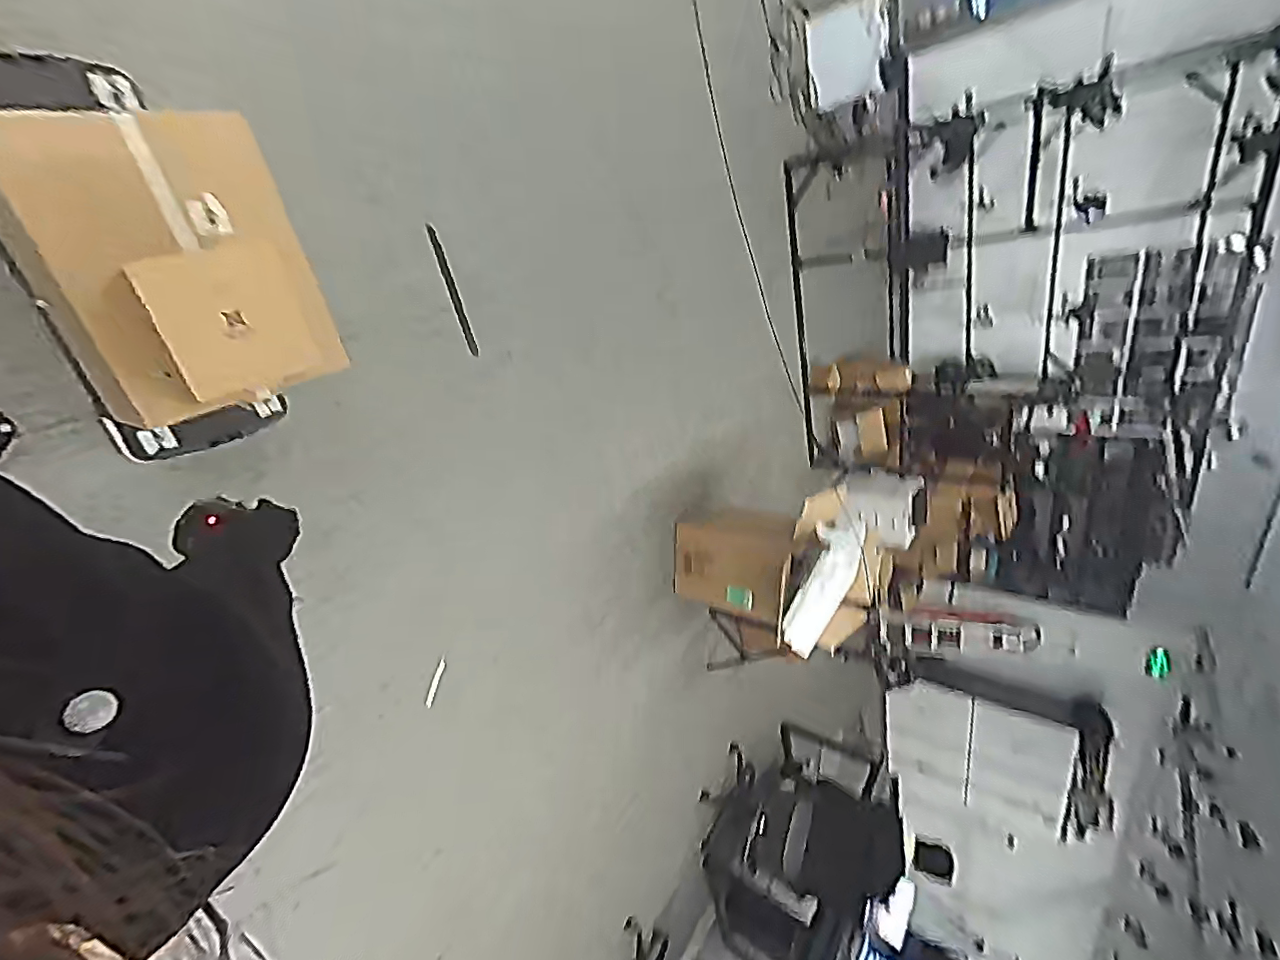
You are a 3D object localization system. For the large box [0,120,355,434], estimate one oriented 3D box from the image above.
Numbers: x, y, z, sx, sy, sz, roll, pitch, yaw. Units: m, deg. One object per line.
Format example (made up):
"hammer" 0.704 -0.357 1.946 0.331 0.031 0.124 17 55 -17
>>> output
"large box" -0.767 -0.321 0.906 0.320 0.320 0.408 -37 122 -42

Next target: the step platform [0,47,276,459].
"step platform" -0.973 -0.386 1.023 0.286 0.204 0.684 -29 117 -44

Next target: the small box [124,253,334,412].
"small box" -0.578 -0.208 0.766 0.168 0.176 0.179 -35 121 -41
